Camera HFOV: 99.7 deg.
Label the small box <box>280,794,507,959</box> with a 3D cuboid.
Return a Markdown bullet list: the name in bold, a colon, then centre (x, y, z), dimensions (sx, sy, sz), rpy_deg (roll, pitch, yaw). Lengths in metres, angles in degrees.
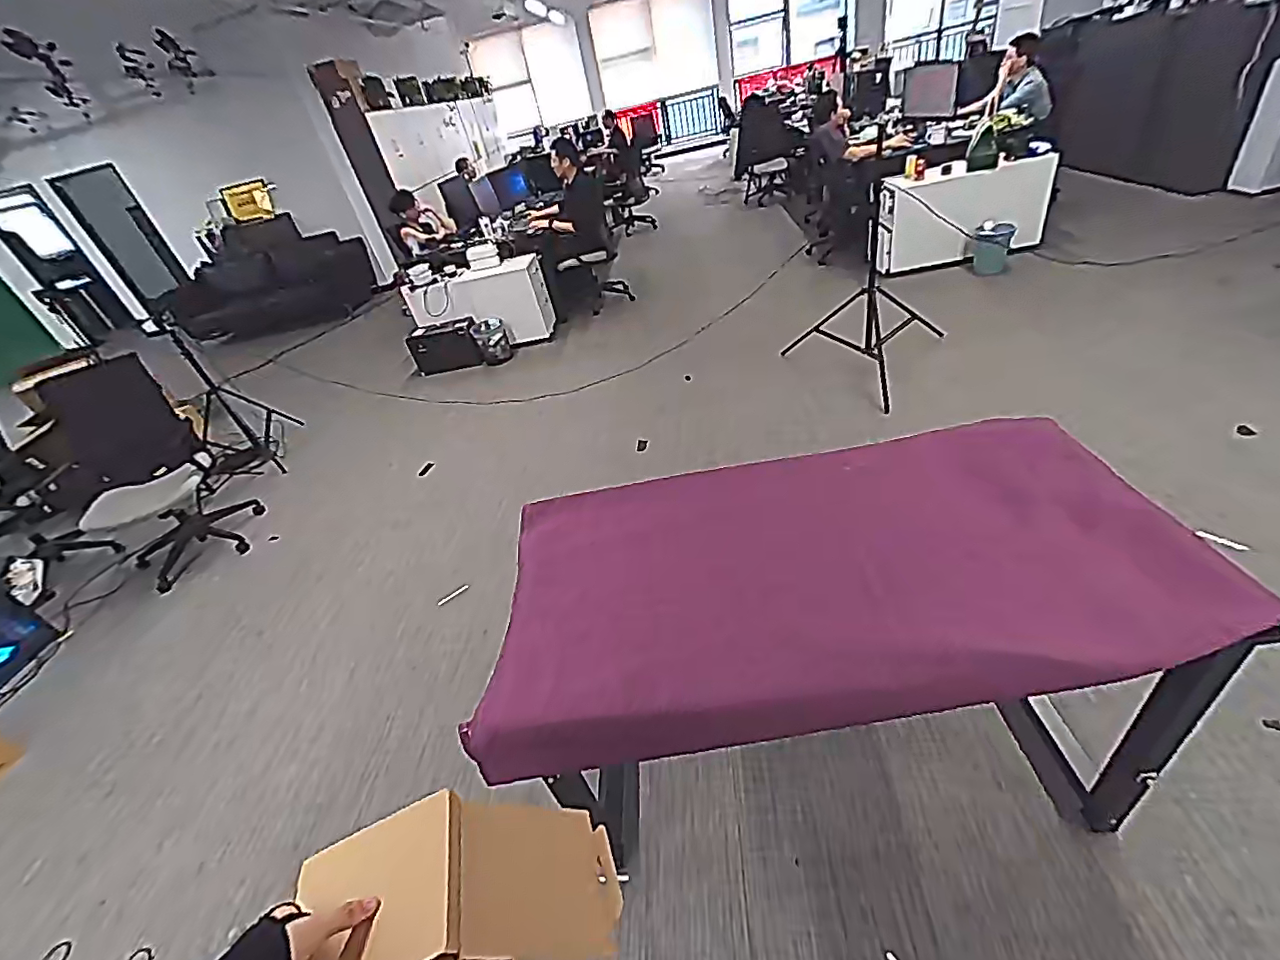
- **small box**: centre (-0.246, 0.487, 0.573), dimensions (0.179, 0.176, 0.168), rpy_deg (-19, 27, -9)
